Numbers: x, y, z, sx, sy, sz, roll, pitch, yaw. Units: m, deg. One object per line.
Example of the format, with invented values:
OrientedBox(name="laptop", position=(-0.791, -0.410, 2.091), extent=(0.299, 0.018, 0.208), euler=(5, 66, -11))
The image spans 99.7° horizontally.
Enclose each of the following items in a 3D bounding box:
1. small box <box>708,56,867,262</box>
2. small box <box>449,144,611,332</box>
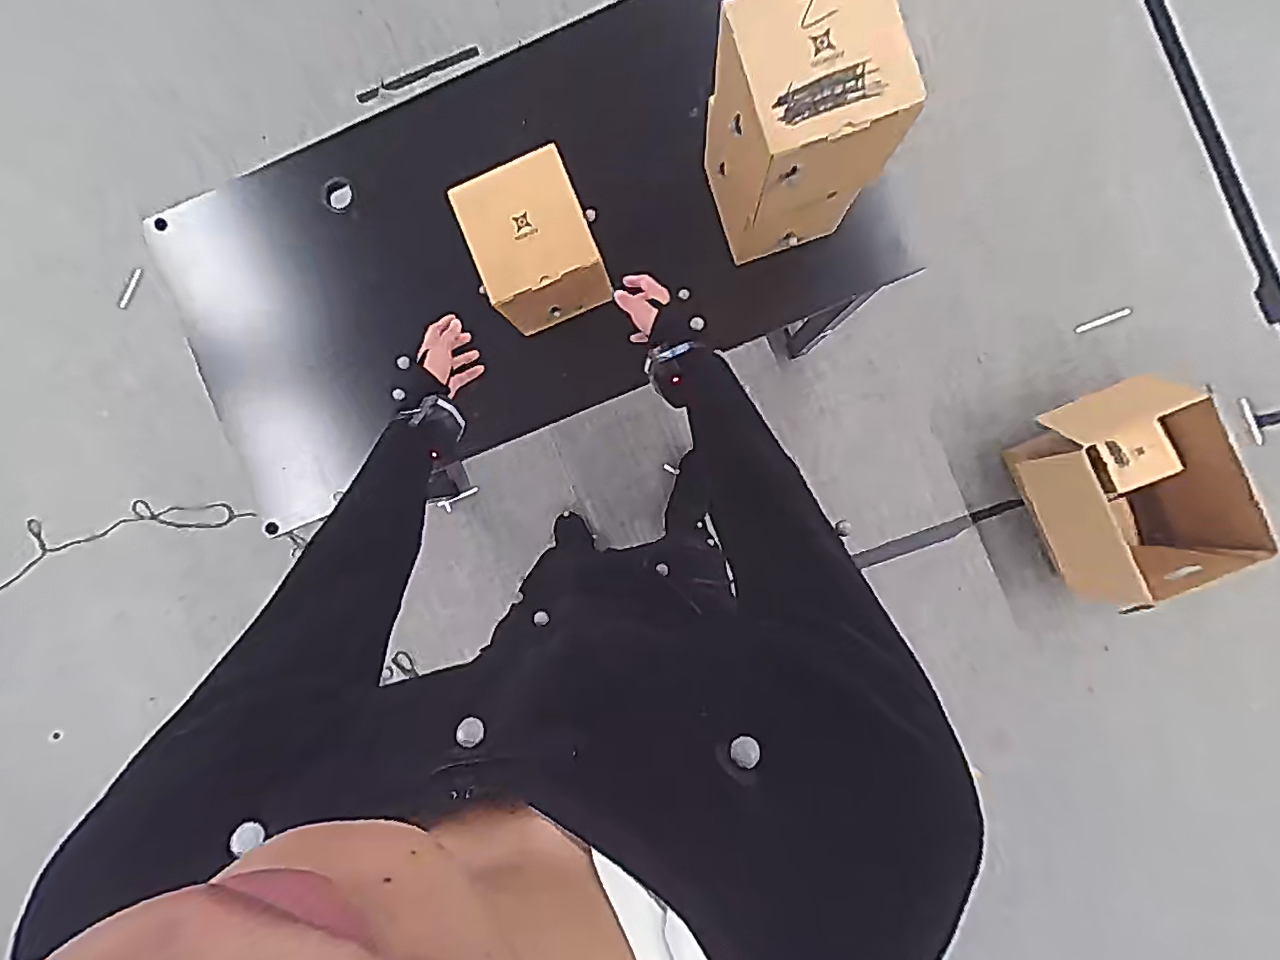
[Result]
OrientedBox(name="small box", position=(0.201, -0.452, 0.790), extent=(0.168, 0.176, 0.179), euler=(-17, 90, 5))
OrientedBox(name="small box", position=(-0.155, -0.351, 0.819), extent=(0.168, 0.176, 0.179), euler=(-22, 90, 4))
